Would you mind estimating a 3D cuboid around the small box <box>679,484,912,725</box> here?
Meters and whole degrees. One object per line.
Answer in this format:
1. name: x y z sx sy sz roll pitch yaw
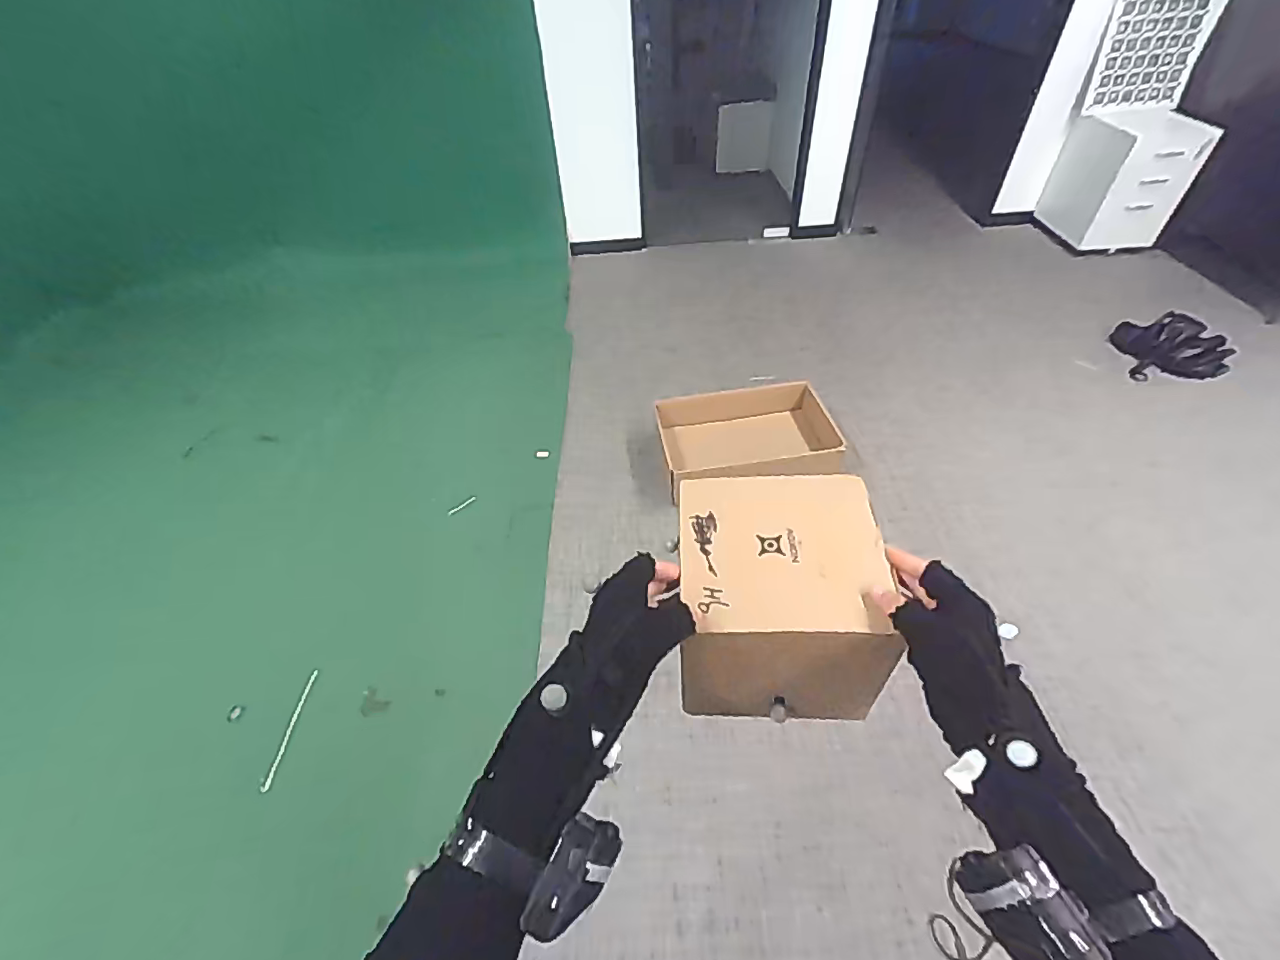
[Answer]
1. small box: 0.128 0.122 0.523 0.179 0.176 0.168 0 44 5
